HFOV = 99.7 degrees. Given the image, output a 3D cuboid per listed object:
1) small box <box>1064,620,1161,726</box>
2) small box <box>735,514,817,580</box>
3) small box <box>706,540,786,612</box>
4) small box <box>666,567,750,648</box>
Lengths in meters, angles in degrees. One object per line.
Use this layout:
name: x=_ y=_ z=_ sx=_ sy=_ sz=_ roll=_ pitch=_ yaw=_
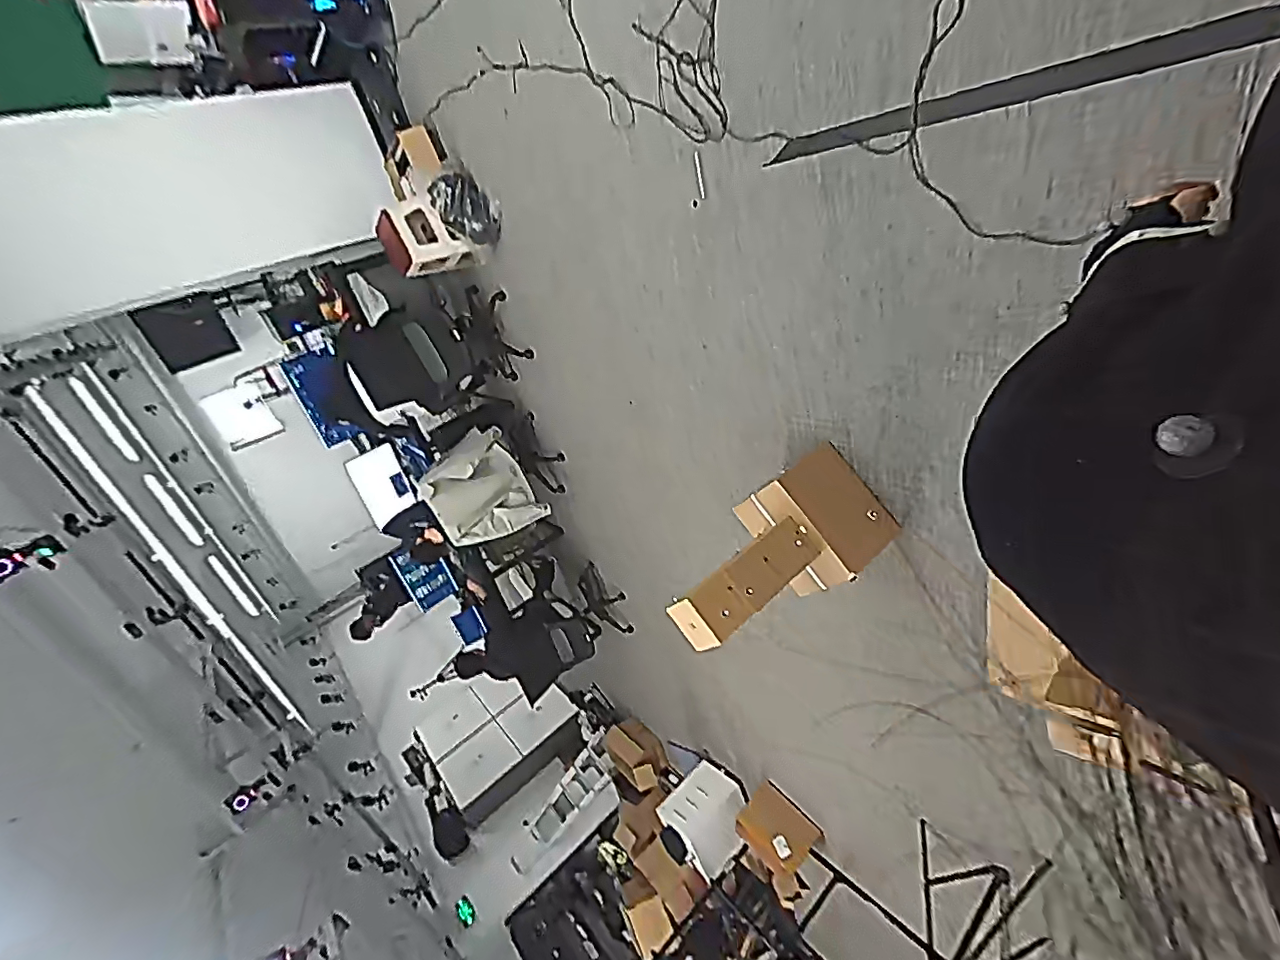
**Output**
small box: x=1.277 y=0.512 z=1.458 sx=0.168 sy=0.176 sz=0.179 roll=6 pitch=122 yaw=53
small box: x=0.462 y=0.243 z=1.836 sx=0.168 sy=0.176 sz=0.179 roll=53 pitch=151 yaw=8
small box: x=0.339 y=0.322 z=1.761 sx=0.168 sy=0.176 sz=0.179 roll=53 pitch=152 yaw=8
small box: x=0.217 y=0.394 z=1.682 sx=0.168 sy=0.176 sz=0.179 roll=53 pitch=151 yaw=8
